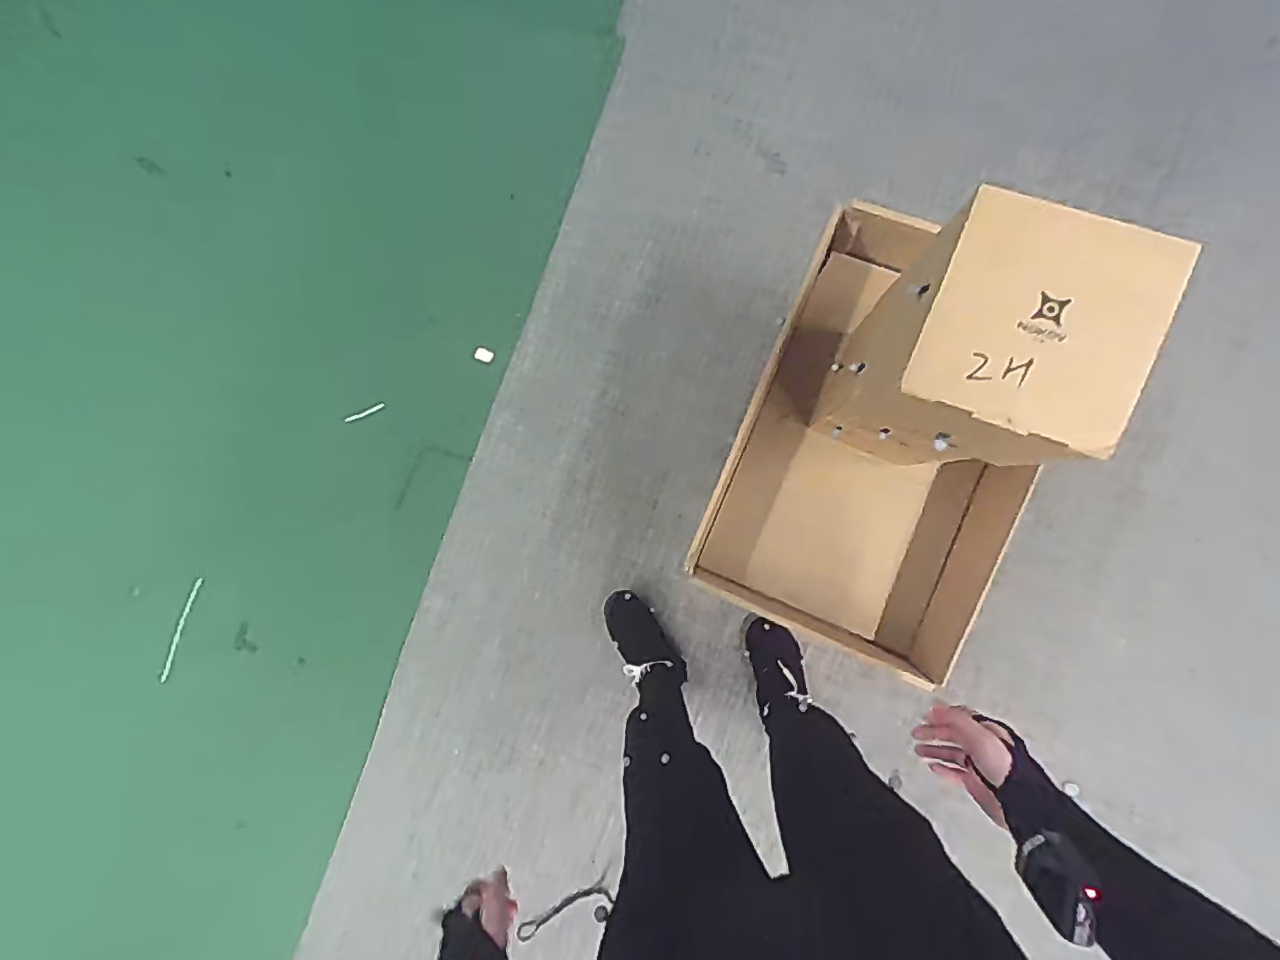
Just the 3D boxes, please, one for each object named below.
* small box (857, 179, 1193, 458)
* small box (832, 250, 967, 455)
[{"bbox_3d":[0.322,-0.129,0.498,0.168,0.176,0.179,21,94,9],"label":"small box"},{"bbox_3d":[0.353,-0.141,0.660,0.168,0.176,0.179,23,94,8],"label":"small box"}]
